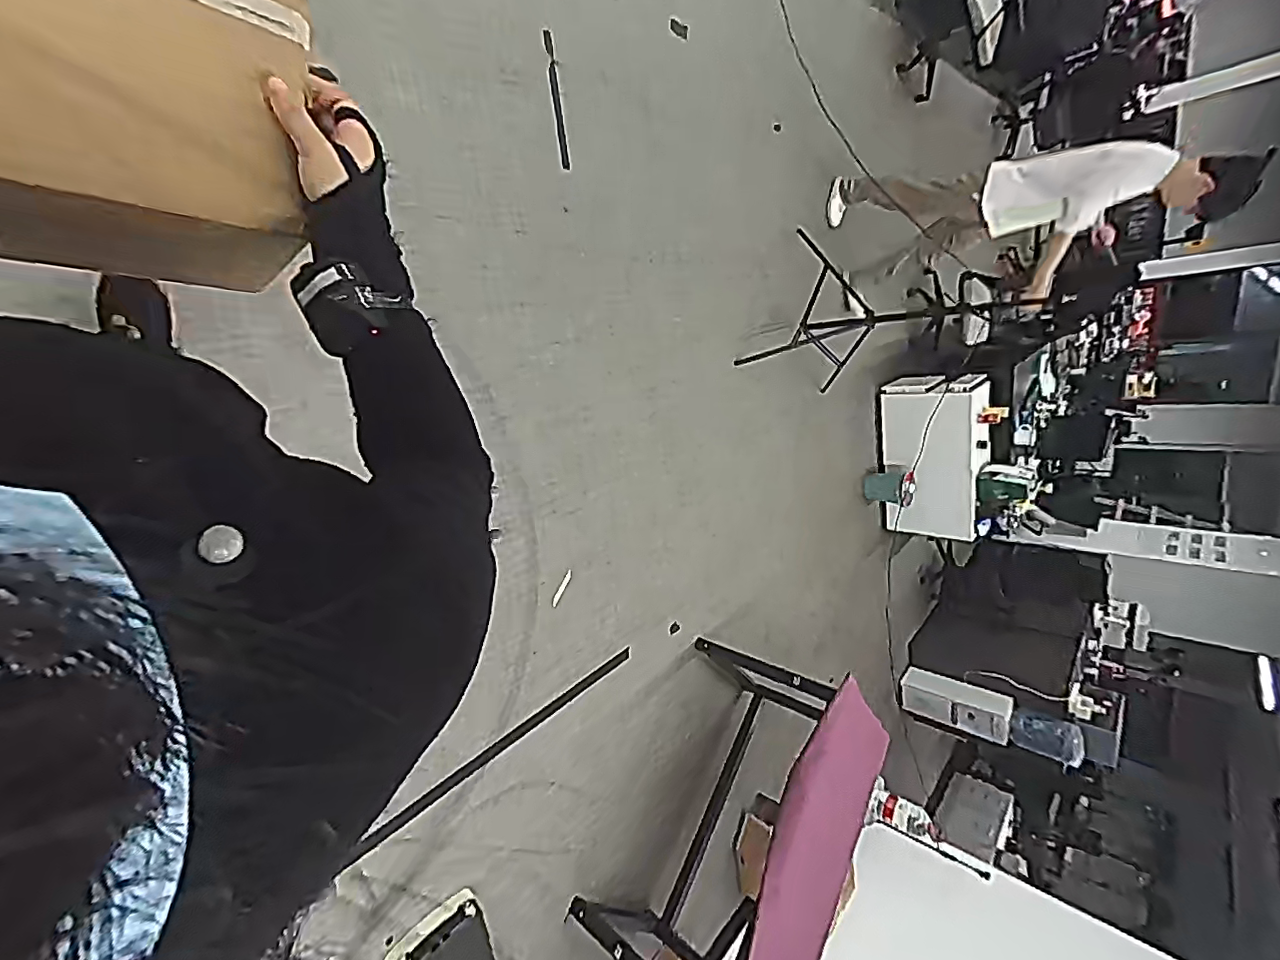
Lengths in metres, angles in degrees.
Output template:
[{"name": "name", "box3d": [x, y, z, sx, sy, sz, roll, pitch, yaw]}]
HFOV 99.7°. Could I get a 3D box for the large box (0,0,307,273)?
[{"name": "large box", "box3d": [-0.523, -0.370, 0.418, 0.408, 0.320, 0.320, -5, 99, -40]}]
